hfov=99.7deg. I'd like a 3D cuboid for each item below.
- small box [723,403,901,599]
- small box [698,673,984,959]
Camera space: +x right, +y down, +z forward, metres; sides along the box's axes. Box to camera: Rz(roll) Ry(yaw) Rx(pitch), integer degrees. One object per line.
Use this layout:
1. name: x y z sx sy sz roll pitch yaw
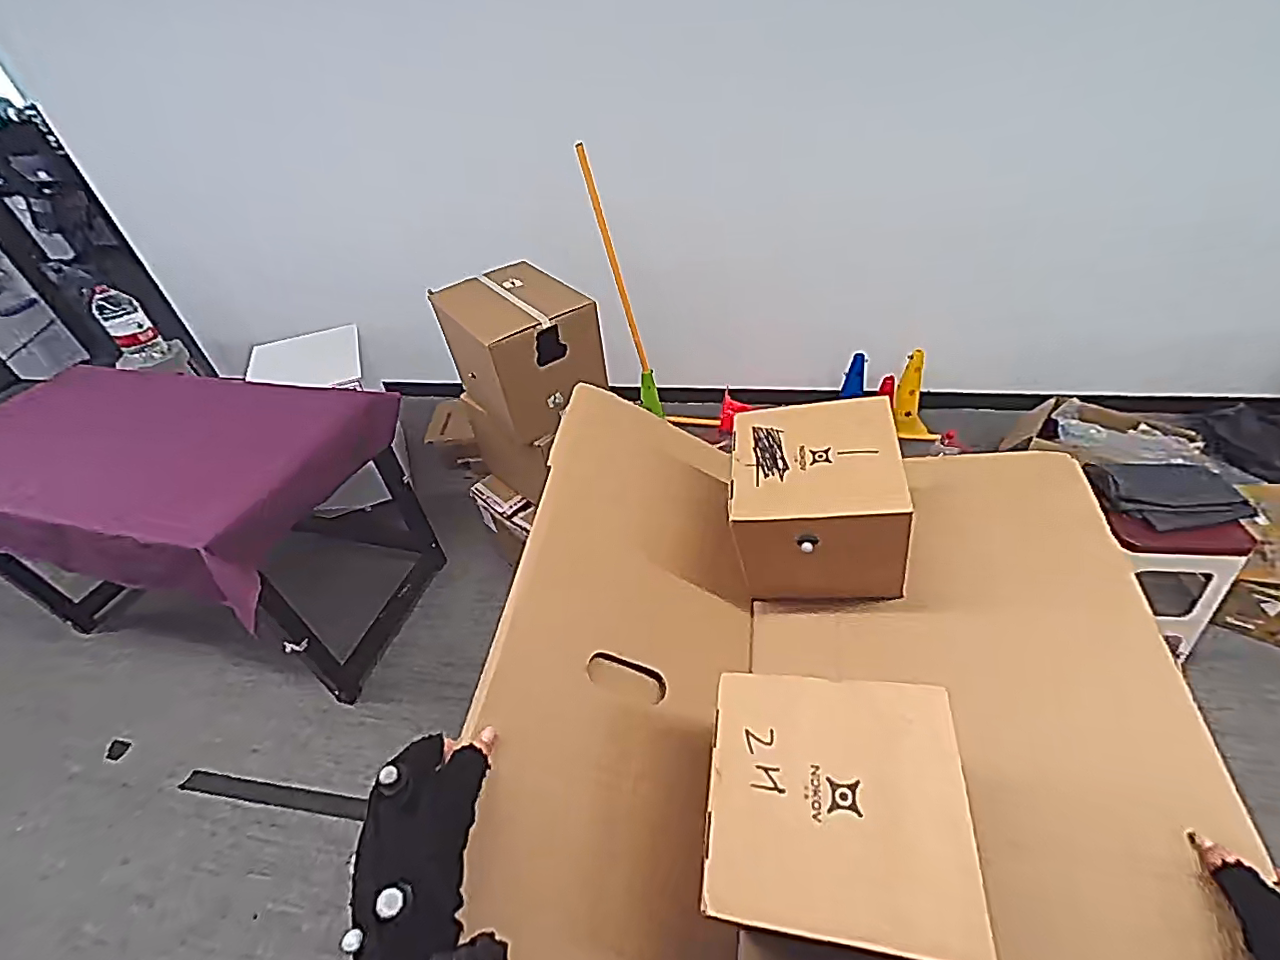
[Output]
1. small box: 0.206 0.033 0.651 0.179 0.176 0.168 -5 49 18
2. small box: 0.159 0.278 0.452 0.179 0.176 0.168 -4 49 20
